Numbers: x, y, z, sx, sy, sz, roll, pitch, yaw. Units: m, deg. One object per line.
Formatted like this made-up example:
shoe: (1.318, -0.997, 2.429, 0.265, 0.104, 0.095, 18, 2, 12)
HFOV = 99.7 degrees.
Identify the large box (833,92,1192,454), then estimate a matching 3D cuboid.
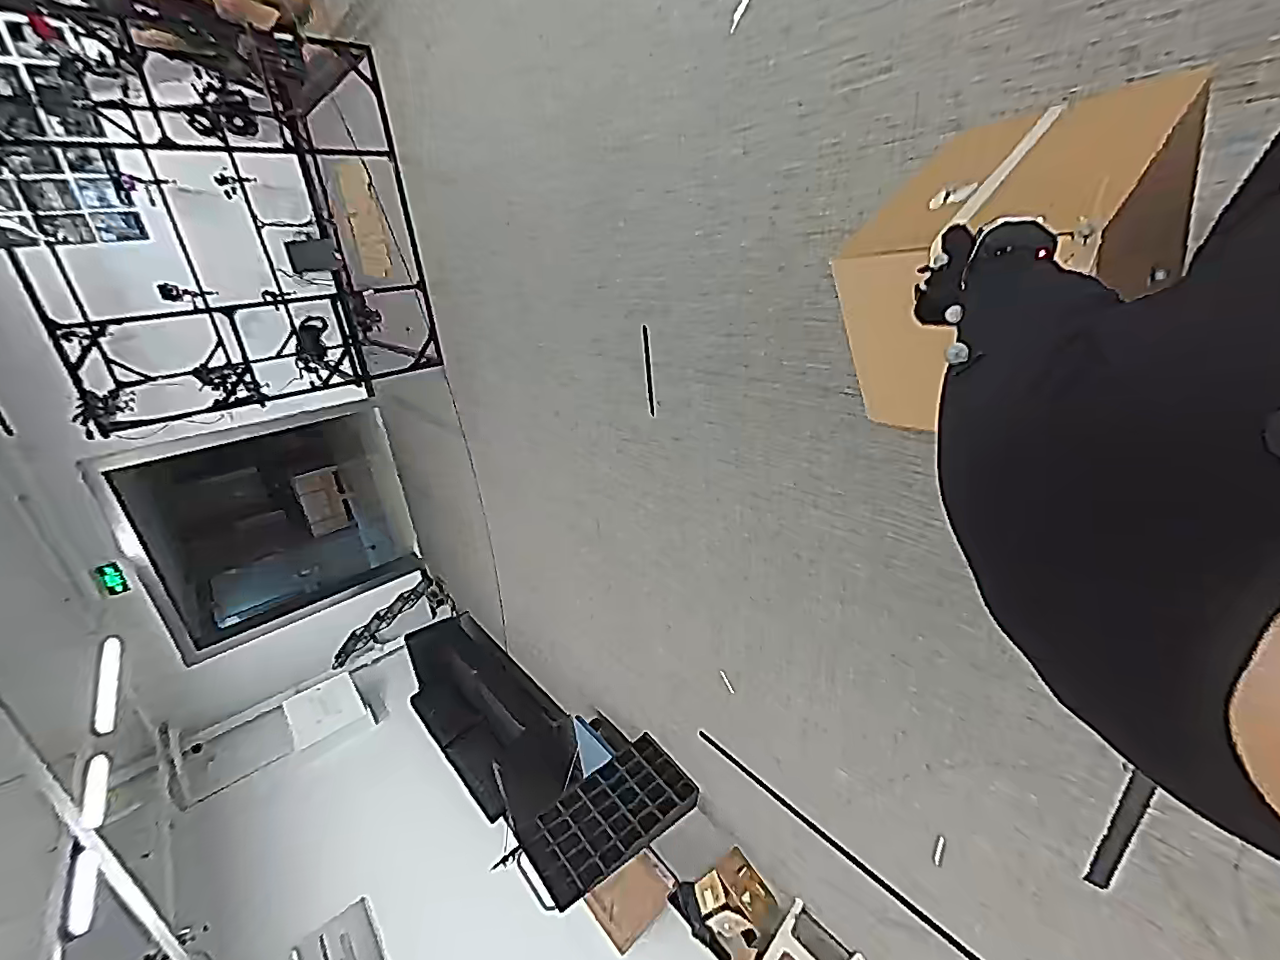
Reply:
large box: (0.566, -0.301, 0.831, 0.320, 0.408, 0.320, 18, 147, 50)
